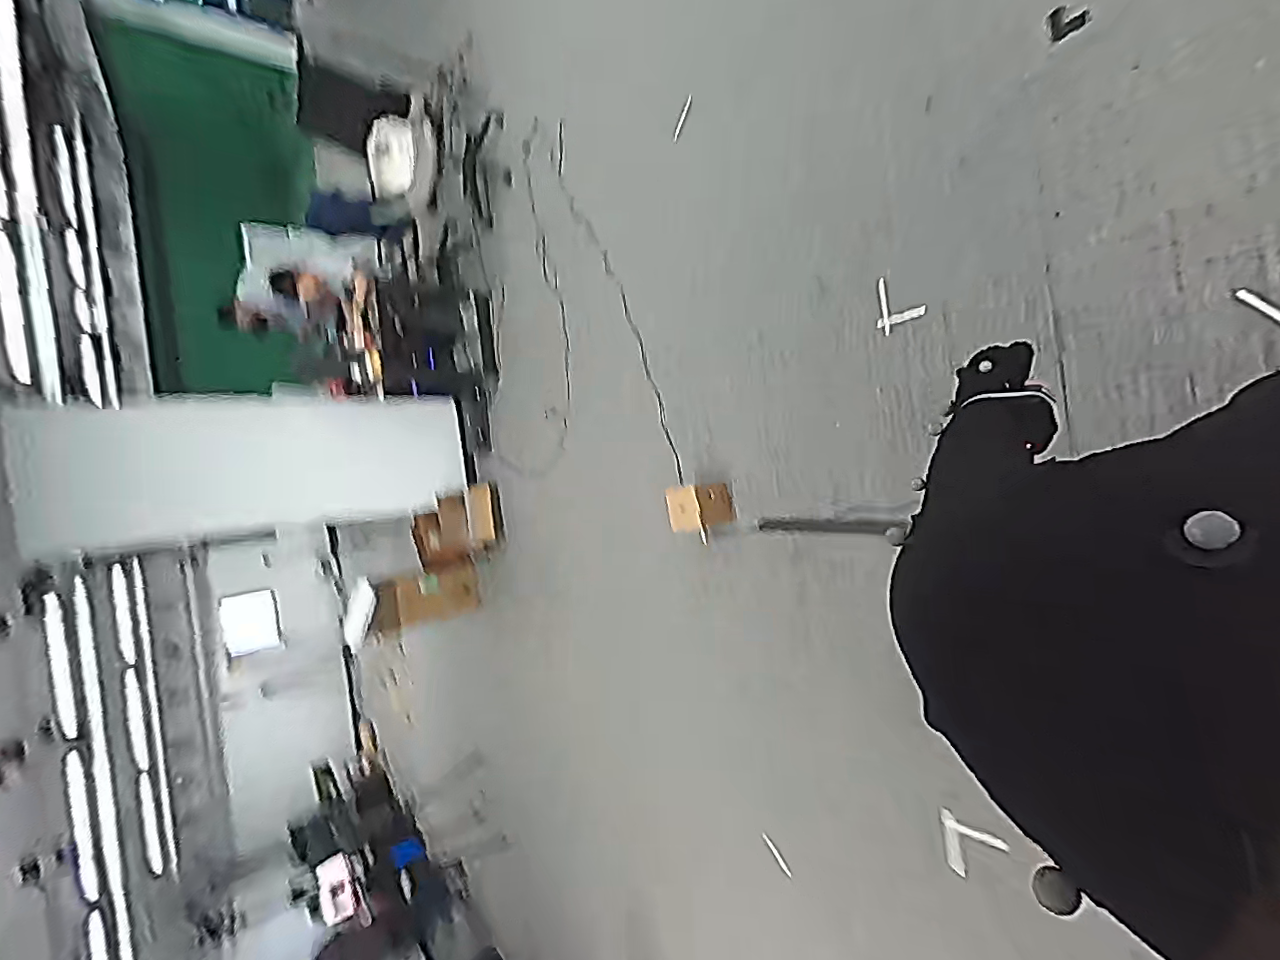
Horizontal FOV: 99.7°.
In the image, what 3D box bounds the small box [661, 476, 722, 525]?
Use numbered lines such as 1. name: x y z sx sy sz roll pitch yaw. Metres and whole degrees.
1. small box: 0.210 0.082 2.139 0.179 0.176 0.168 -12 86 53
